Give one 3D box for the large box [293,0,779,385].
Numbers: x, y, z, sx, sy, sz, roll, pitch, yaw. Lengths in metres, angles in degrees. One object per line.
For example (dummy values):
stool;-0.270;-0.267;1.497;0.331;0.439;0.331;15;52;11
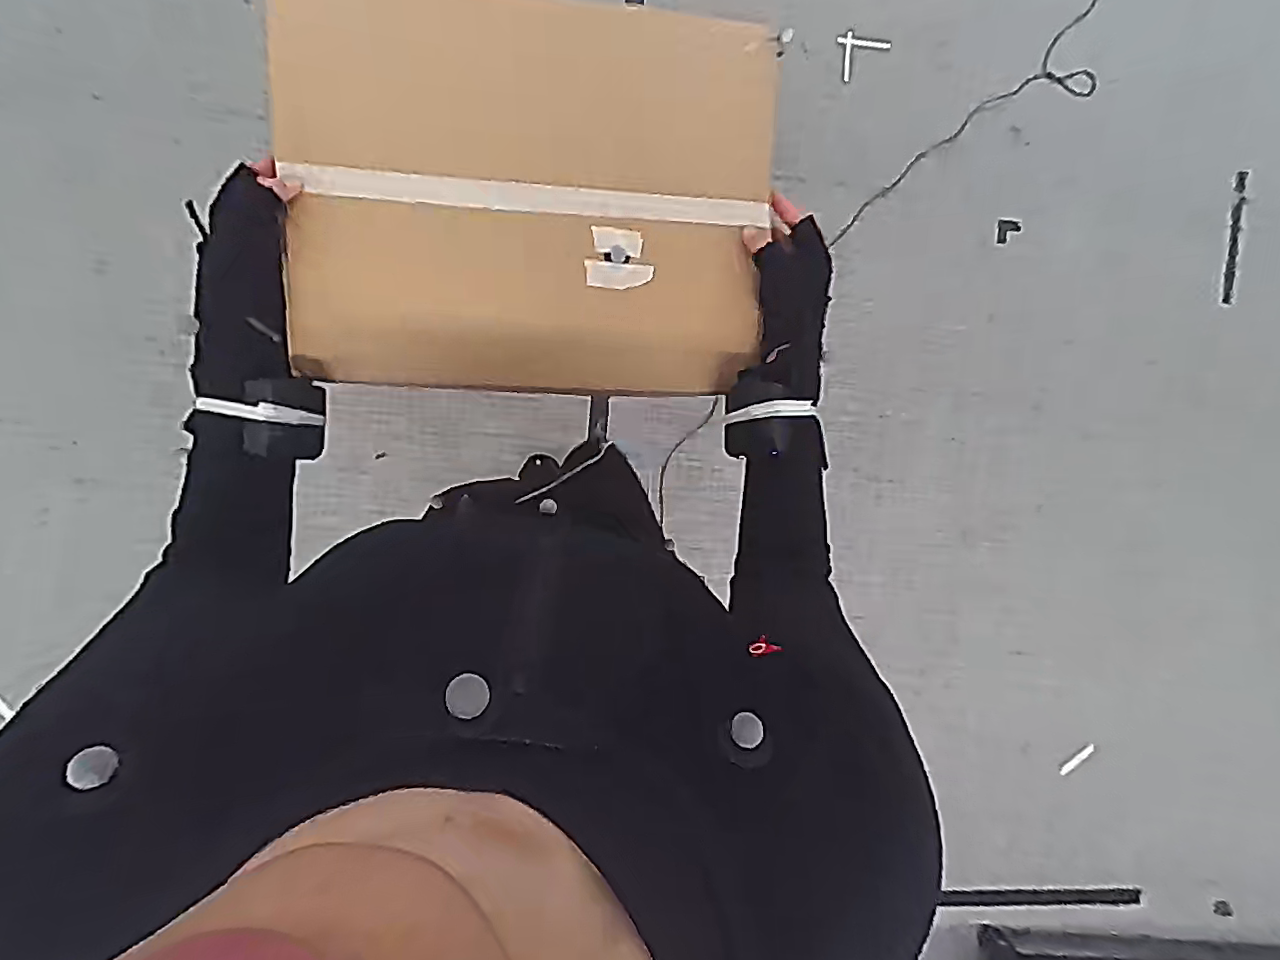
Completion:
large box;-0.101;-0.270;0.612;0.408;0.320;0.320;1;100;-10
